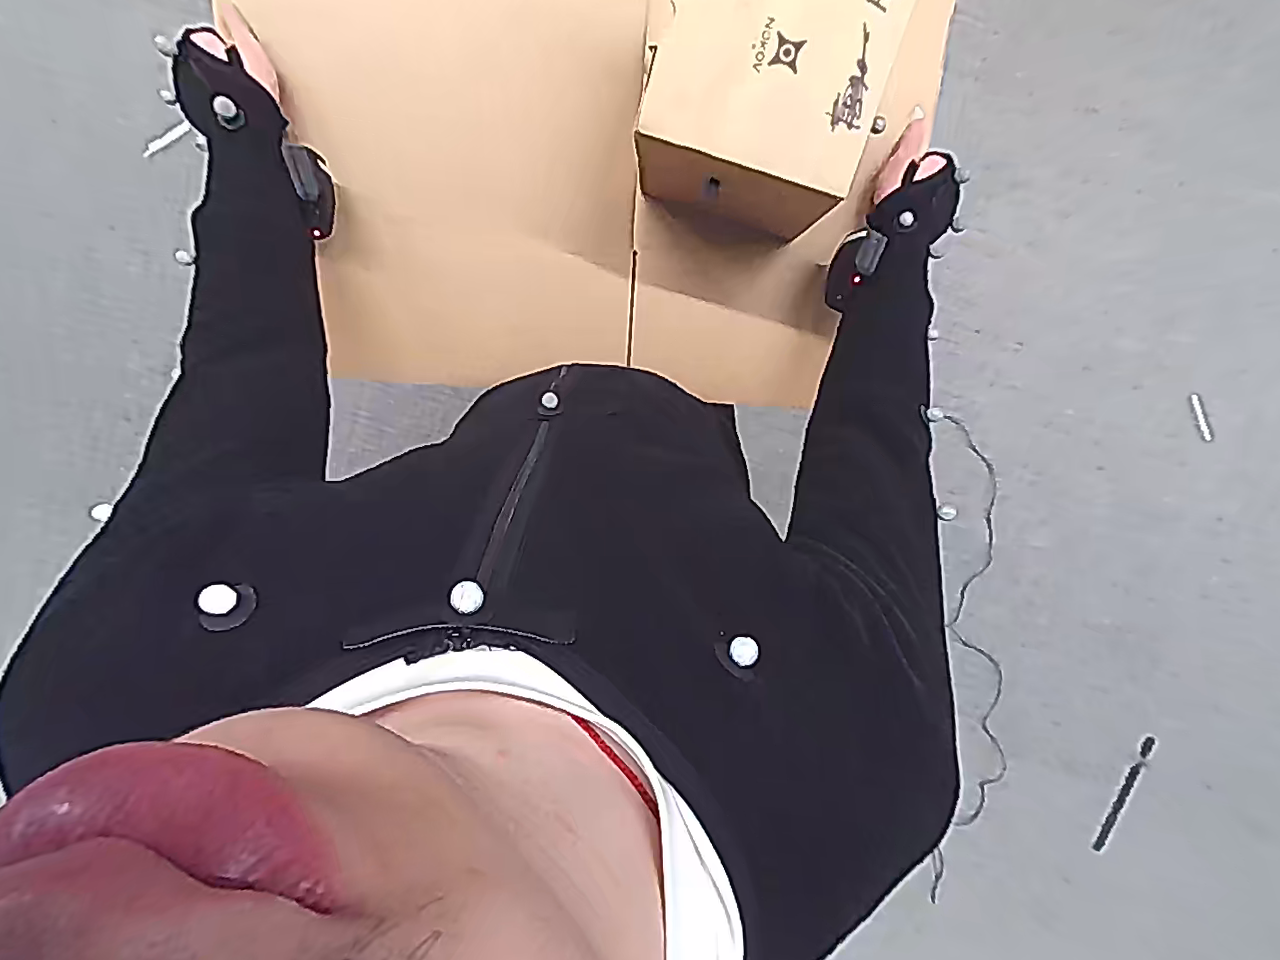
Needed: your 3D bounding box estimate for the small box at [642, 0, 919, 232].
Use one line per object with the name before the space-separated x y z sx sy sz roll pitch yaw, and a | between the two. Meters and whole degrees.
small box | 0.111 -0.343 0.487 0.179 0.176 0.168 17 104 -1
